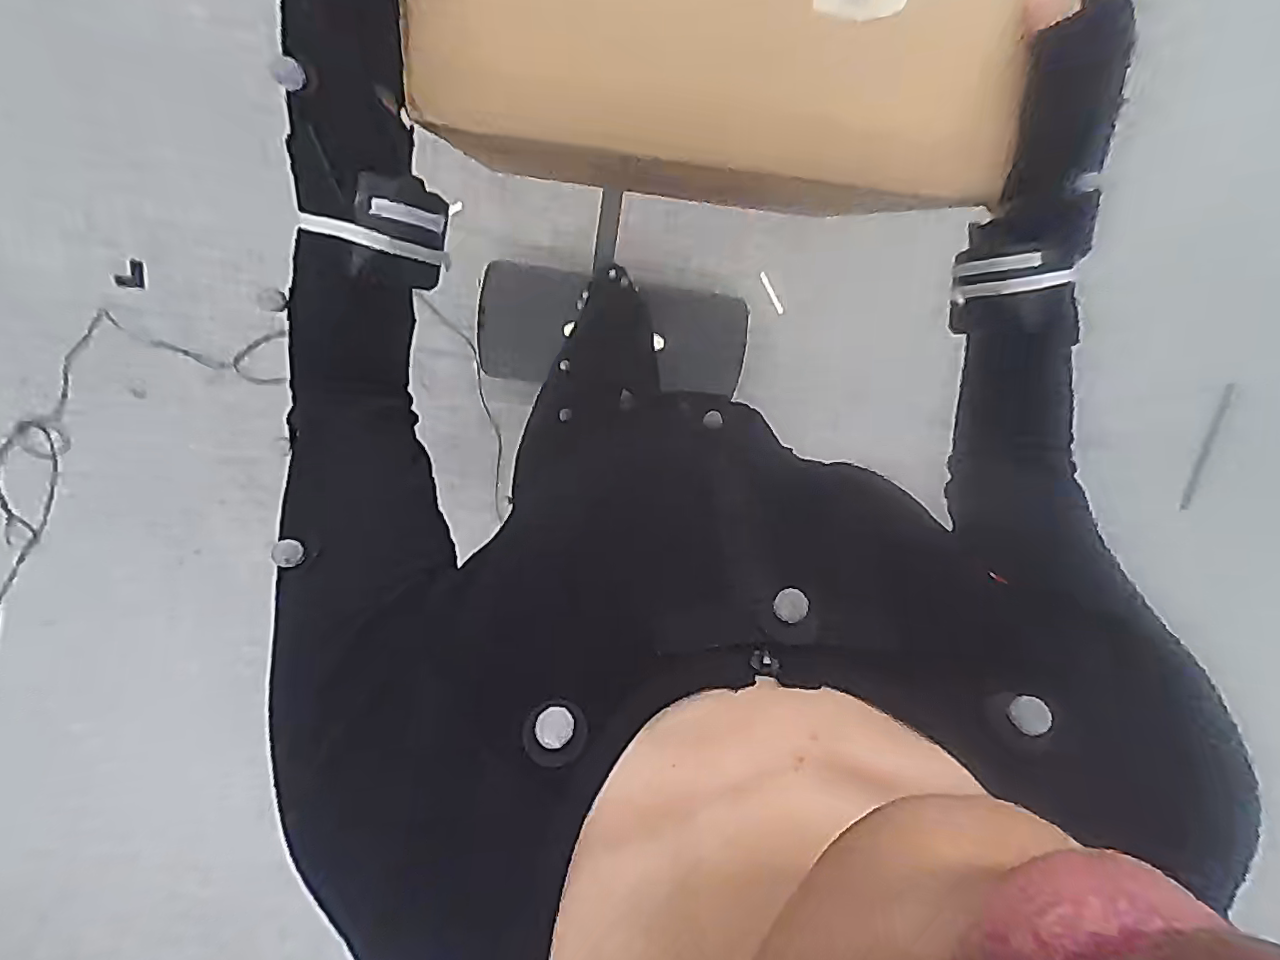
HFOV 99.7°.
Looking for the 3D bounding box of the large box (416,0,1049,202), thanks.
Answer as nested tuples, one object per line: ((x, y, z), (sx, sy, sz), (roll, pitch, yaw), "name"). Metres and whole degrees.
((0.055, -0.425, 0.438), (0.408, 0.320, 0.320), (3, 115, -9), "large box")
